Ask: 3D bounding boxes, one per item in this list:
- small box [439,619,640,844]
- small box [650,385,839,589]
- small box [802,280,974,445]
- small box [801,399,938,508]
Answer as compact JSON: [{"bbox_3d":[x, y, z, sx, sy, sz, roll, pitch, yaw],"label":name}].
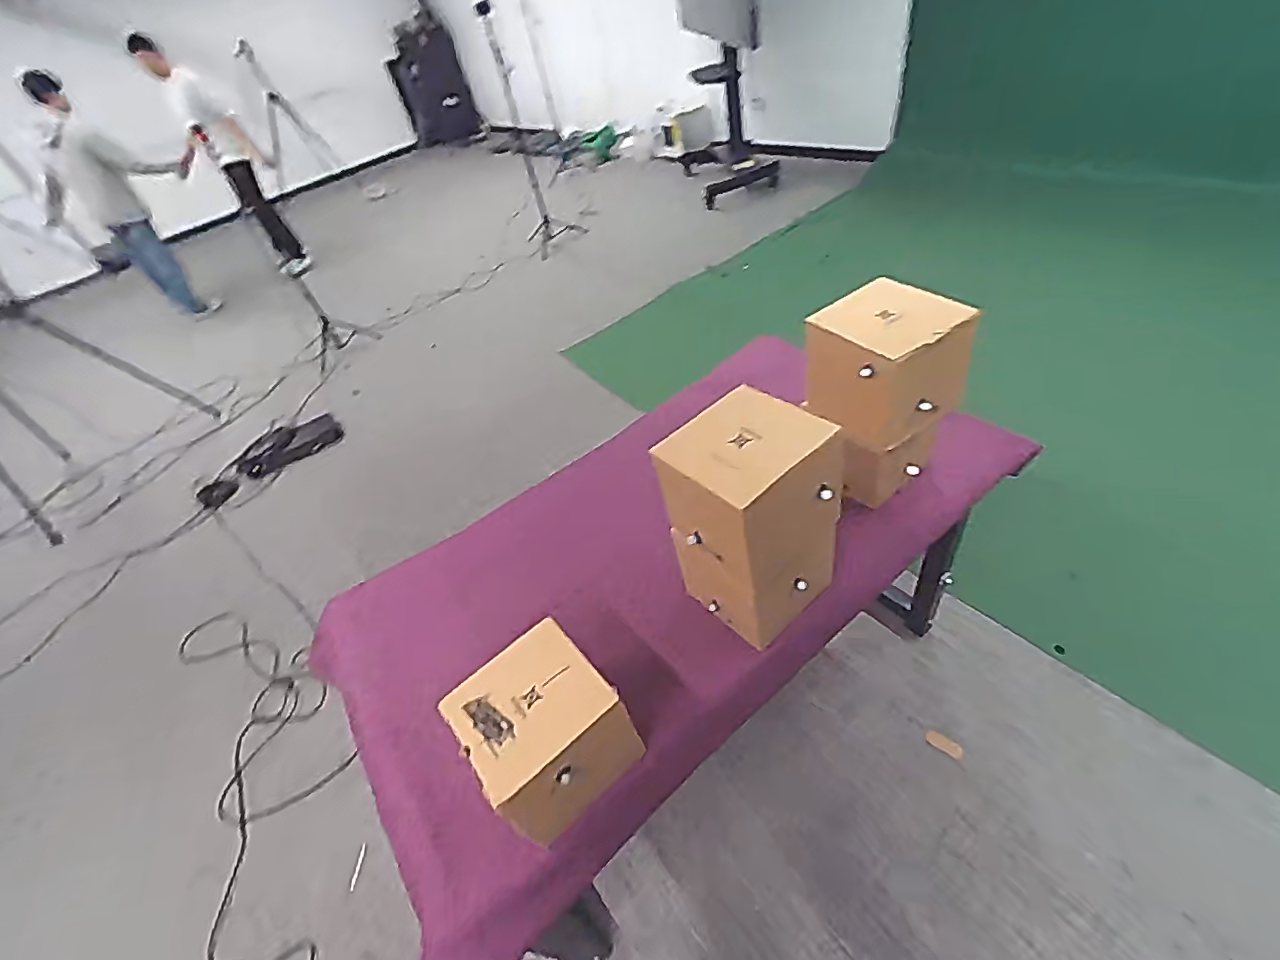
[{"bbox_3d":[-0.123,0.328,0.707,0.179,0.176,0.168,-36,45,-21],"label":"small box"},{"bbox_3d":[0.141,0.006,0.721,0.179,0.176,0.168,-36,44,-19],"label":"small box"},{"bbox_3d":[0.375,-0.184,0.850,0.168,0.176,0.179,-31,44,-14],"label":"small box"},{"bbox_3d":[0.410,-0.084,0.976,0.179,0.176,0.168,-36,44,-20],"label":"small box"}]
